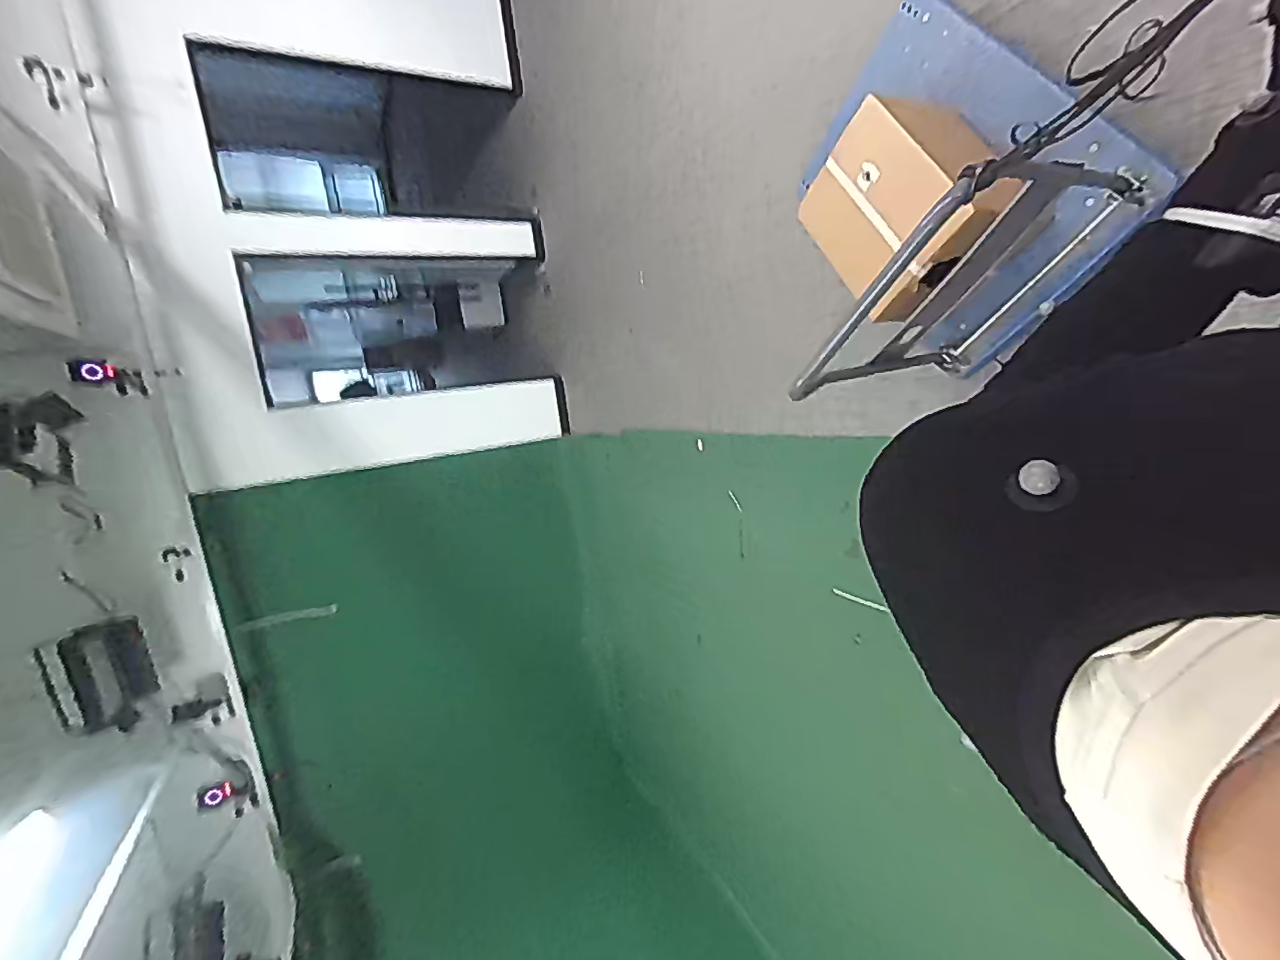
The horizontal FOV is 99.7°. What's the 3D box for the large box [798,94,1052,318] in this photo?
[{"bbox_3d":[0.677,-0.658,1.332,0.408,0.320,0.320,67,150,21],"label":"large box"}]
